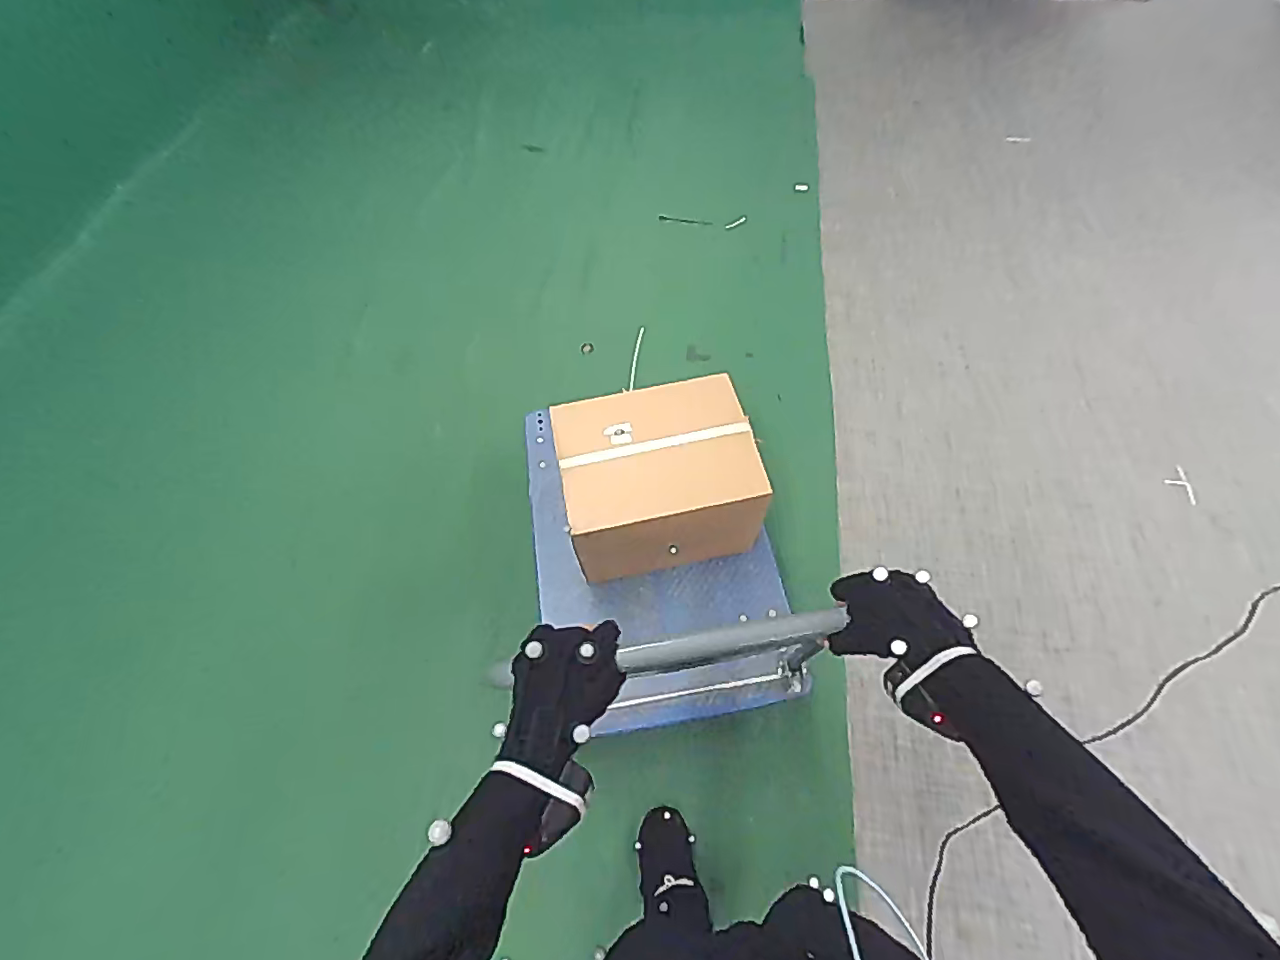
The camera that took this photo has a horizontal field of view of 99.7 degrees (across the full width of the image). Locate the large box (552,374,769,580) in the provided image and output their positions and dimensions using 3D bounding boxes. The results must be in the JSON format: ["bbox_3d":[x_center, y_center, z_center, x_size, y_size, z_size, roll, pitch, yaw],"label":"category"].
[{"bbox_3d":[0.040,0.004,1.263,0.408,0.320,0.320,-13,61,-4],"label":"large box"}]
